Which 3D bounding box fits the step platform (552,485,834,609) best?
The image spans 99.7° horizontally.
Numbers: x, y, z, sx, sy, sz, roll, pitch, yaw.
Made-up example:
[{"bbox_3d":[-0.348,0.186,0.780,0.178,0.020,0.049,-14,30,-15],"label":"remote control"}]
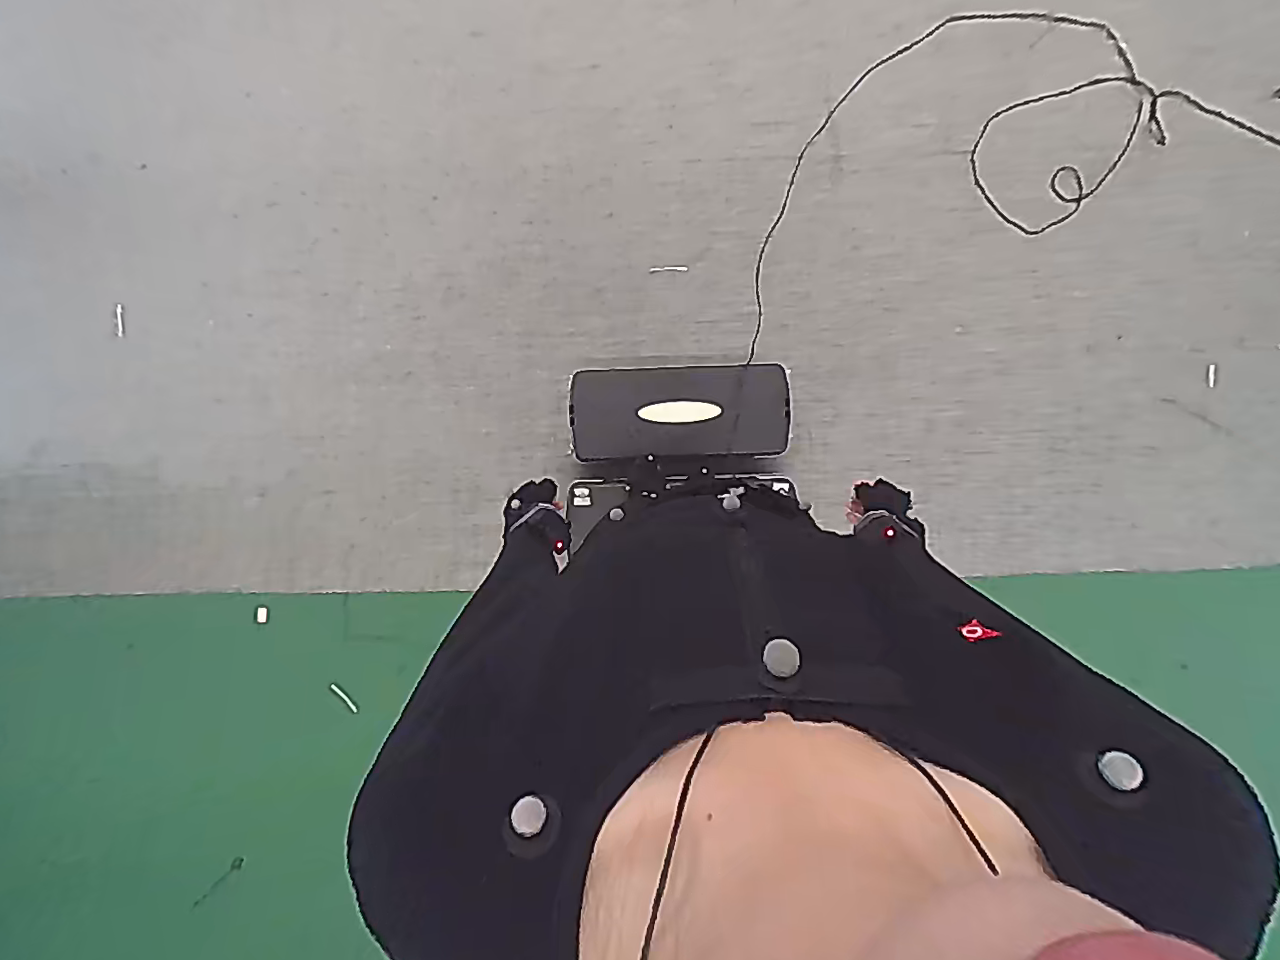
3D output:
[{"bbox_3d":[0.127,0.163,1.396,0.684,0.204,0.286,-2,90,-1],"label":"step platform"}]
